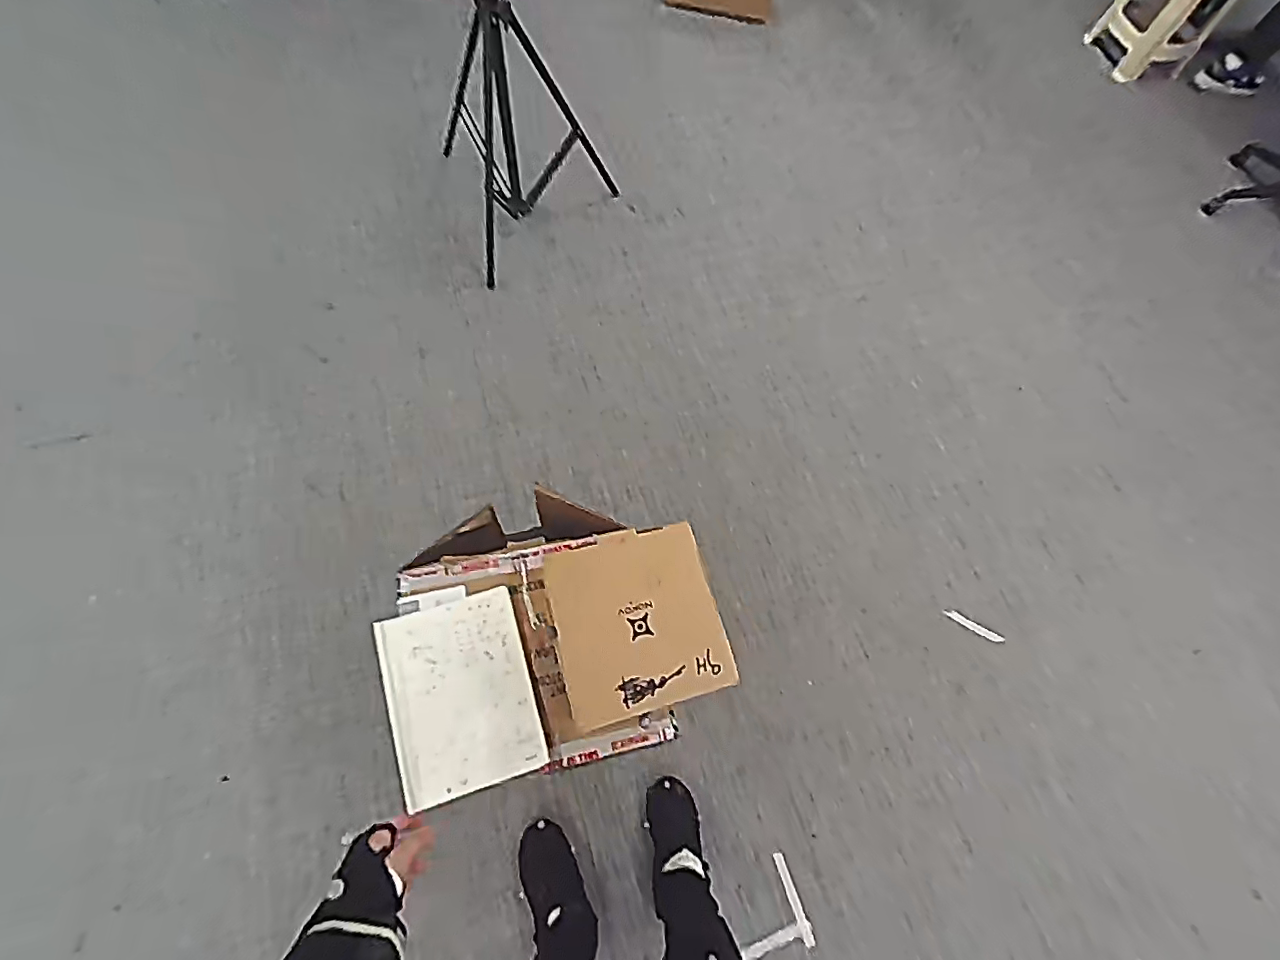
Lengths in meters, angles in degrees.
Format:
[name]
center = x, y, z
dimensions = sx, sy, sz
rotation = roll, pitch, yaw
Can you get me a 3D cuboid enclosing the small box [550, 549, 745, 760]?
[small box]
center = -0.006, 0.199, 0.619
dimensions = 0.168, 0.176, 0.179
rotation = -12, 70, -13
